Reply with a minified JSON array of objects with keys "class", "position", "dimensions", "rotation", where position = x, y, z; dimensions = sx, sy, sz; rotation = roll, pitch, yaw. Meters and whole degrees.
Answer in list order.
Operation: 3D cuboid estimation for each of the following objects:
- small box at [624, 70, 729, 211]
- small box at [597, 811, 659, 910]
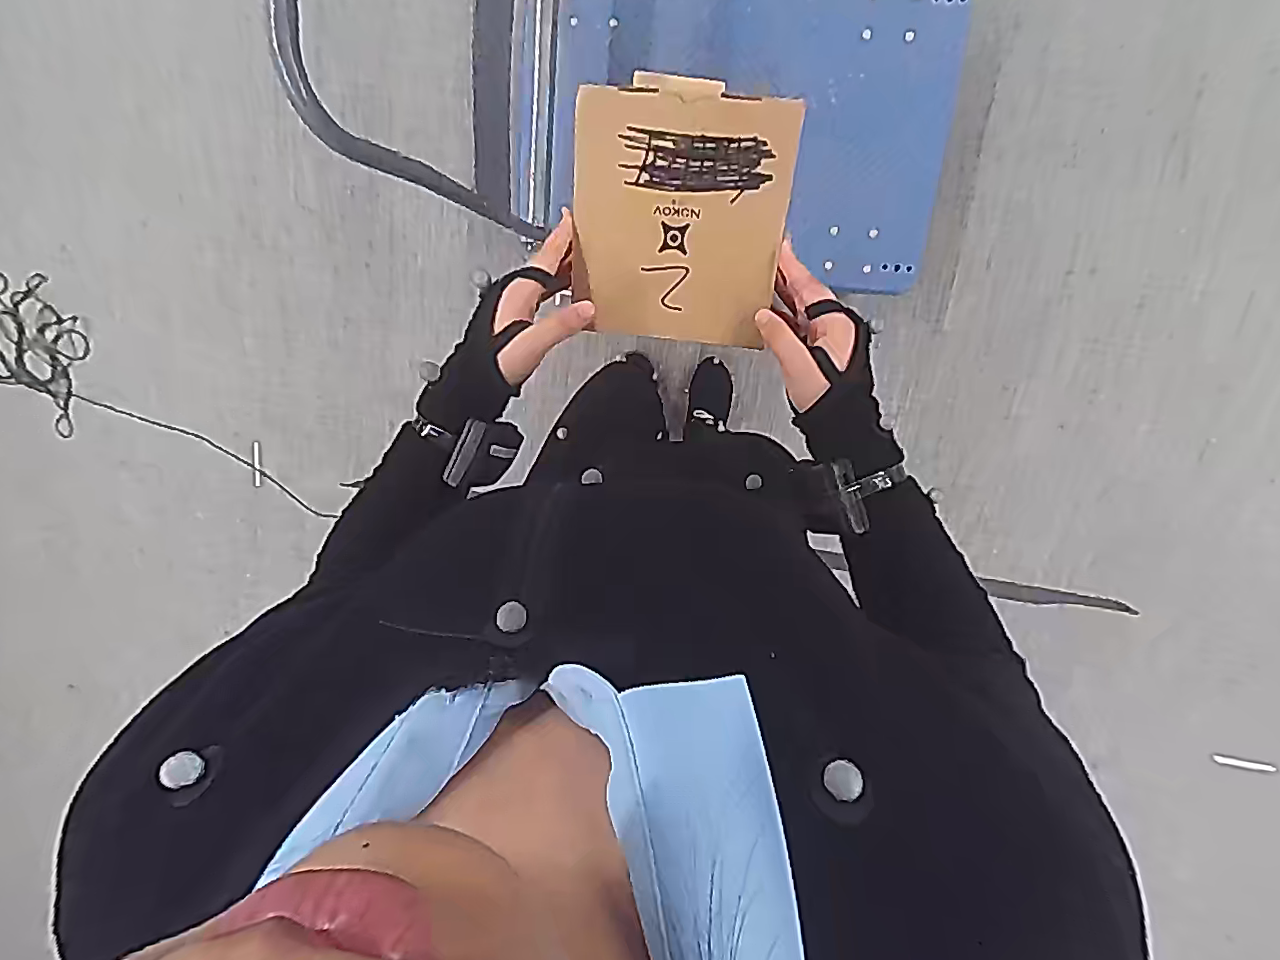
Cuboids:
[{"class":"small box","position":[0.072,-0.648,1.049],"dimensions":[0.168,0.176,0.179],"rotation":[11,105,4]},{"class":"small box","position":[-0.032,1.191,1.699],"dimensions":[0.168,0.176,0.179],"rotation":[7,103,5]}]
